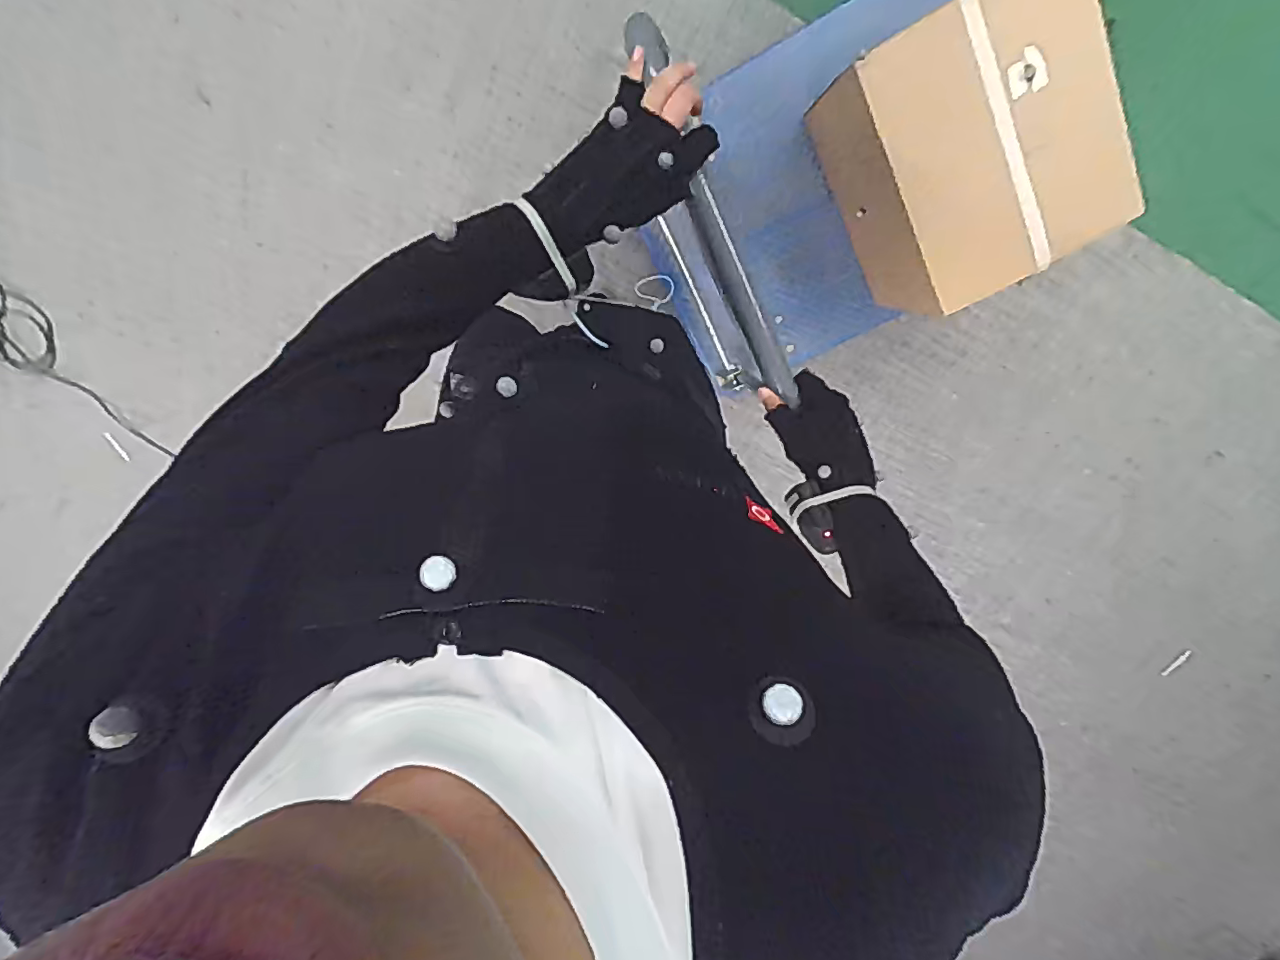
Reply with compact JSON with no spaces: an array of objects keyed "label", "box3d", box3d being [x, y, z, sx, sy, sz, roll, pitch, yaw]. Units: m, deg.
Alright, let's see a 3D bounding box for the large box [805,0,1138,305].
[{"label":"large box","box3d":[0.539,-0.569,0.940,0.320,0.320,0.408,-28,107,12]}]
